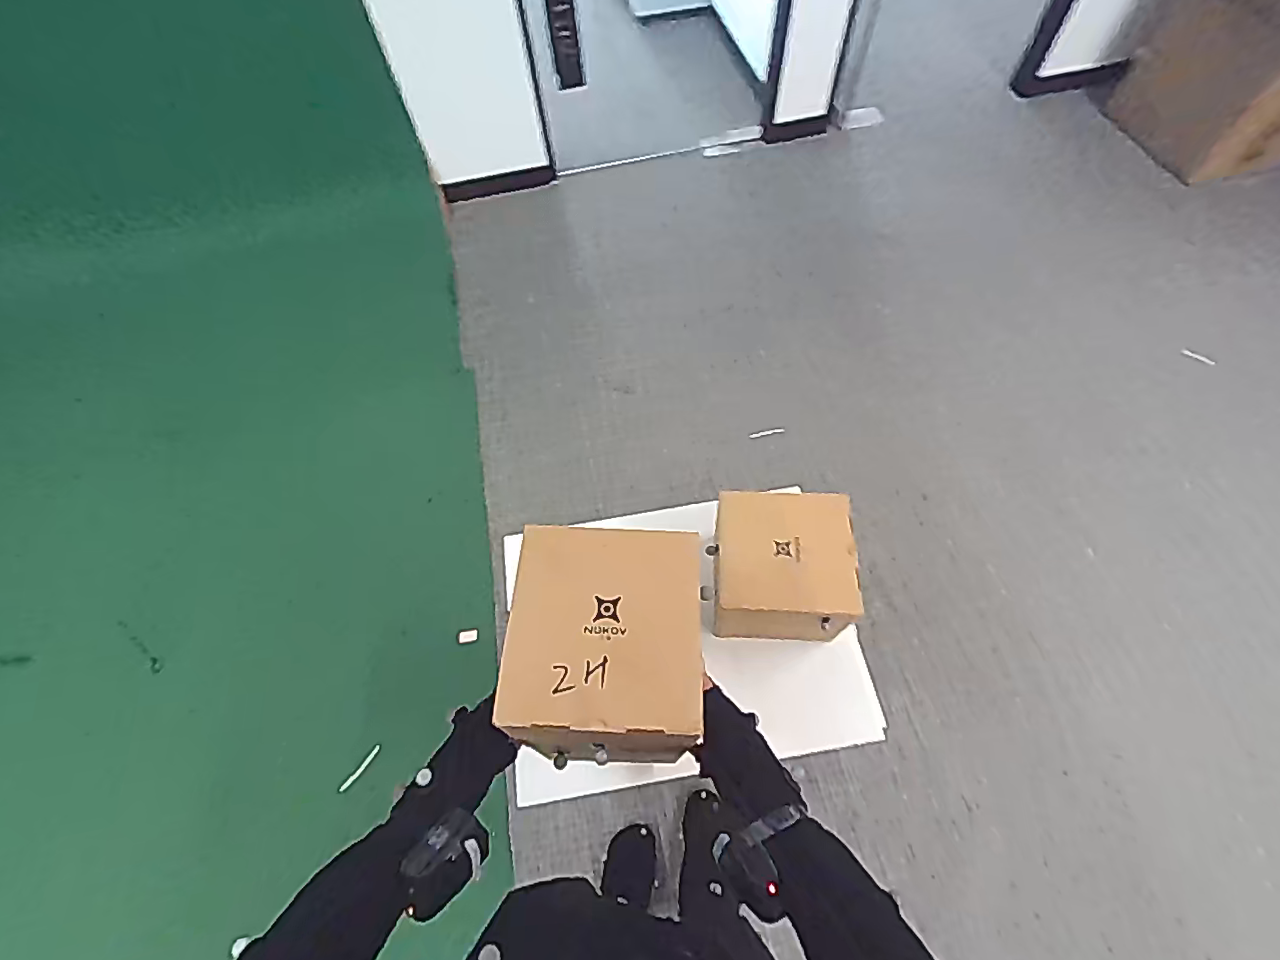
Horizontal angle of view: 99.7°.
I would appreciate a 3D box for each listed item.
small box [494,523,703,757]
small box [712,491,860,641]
[{"bbox_3d":[-0.030,0.161,0.529,0.168,0.176,0.179,3,58,1],"label":"small box"},{"bbox_3d":[0.193,0.127,0.770,0.179,0.176,0.168,1,62,5],"label":"small box"}]
